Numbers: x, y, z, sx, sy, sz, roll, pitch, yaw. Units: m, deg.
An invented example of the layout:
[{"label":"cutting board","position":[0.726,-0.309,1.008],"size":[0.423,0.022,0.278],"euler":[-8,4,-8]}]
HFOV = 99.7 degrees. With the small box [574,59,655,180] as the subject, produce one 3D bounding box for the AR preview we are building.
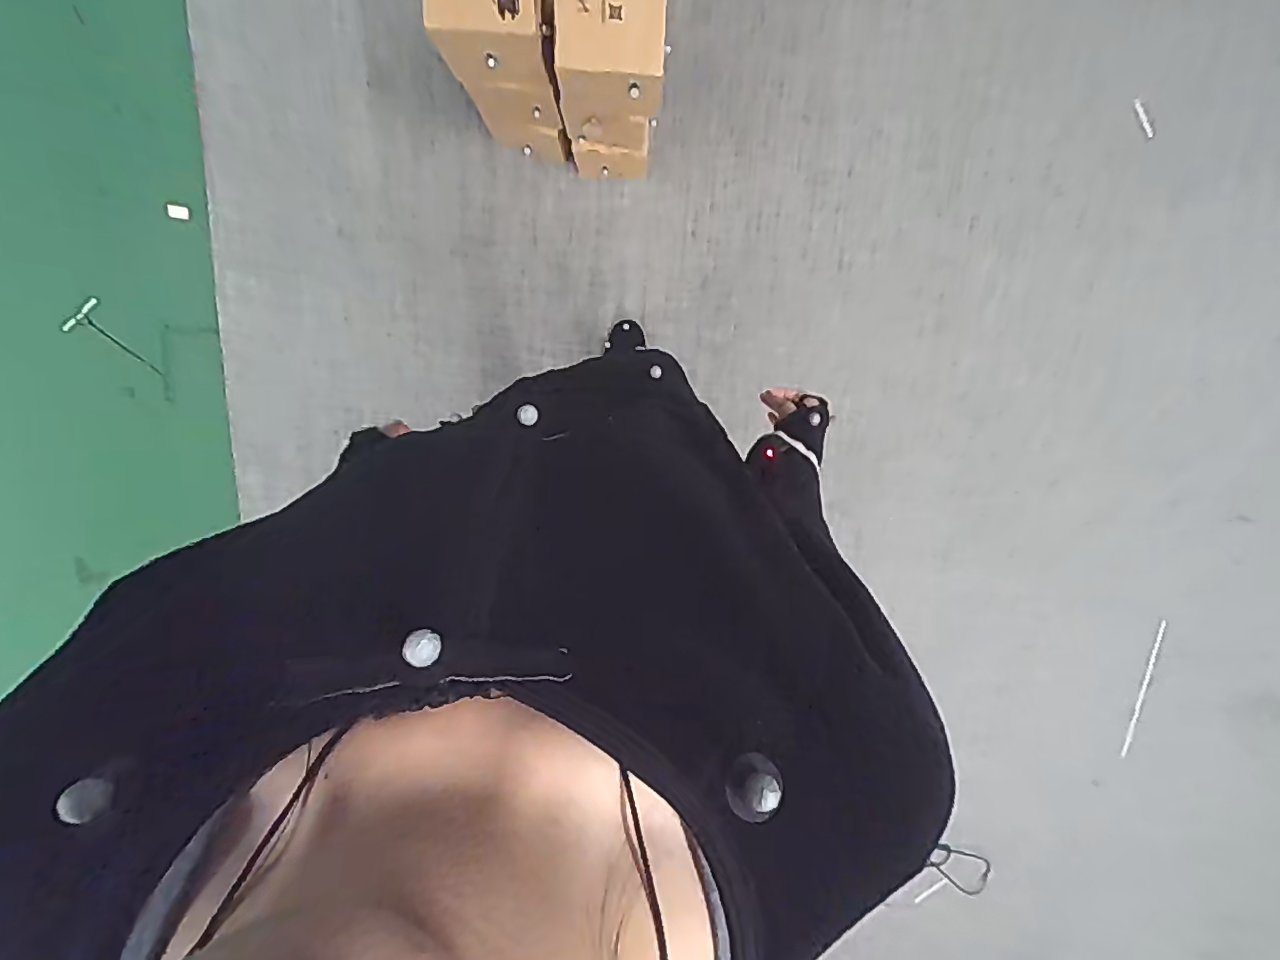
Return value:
[{"label":"small box","position":[-0.059,-0.813,1.235],"size":[0.168,0.176,0.179],"euler":[4,105,-2]}]
